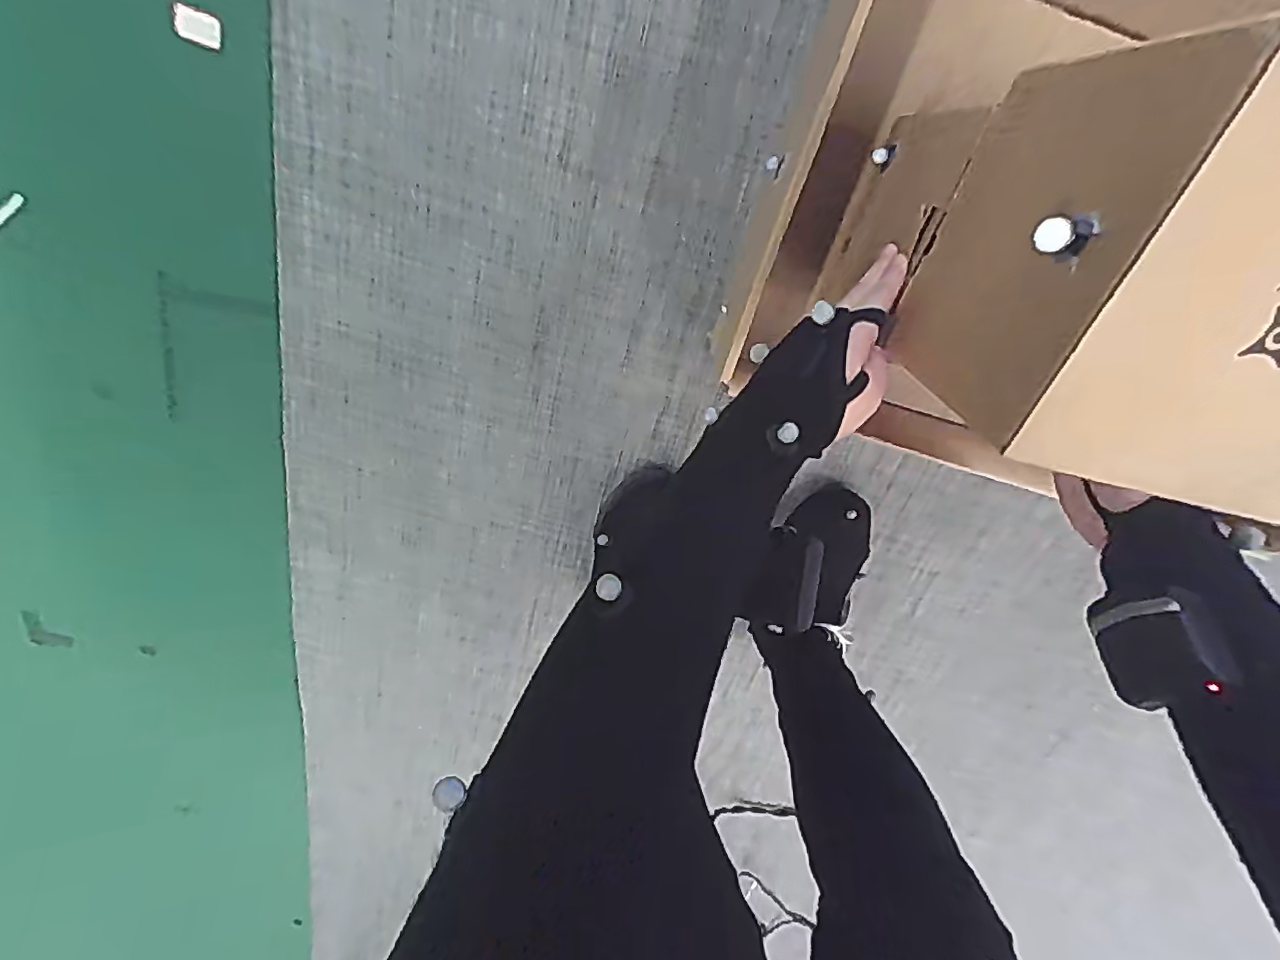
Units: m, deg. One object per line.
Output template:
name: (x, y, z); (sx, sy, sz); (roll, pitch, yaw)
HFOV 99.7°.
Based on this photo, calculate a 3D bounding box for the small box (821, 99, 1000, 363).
small box: (0.275, -0.184, 0.444); (0.179, 0.176, 0.168); (14, 121, -7)

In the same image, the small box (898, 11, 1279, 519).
small box: (0.272, -0.110, 0.299); (0.168, 0.176, 0.179); (13, 121, -4)
